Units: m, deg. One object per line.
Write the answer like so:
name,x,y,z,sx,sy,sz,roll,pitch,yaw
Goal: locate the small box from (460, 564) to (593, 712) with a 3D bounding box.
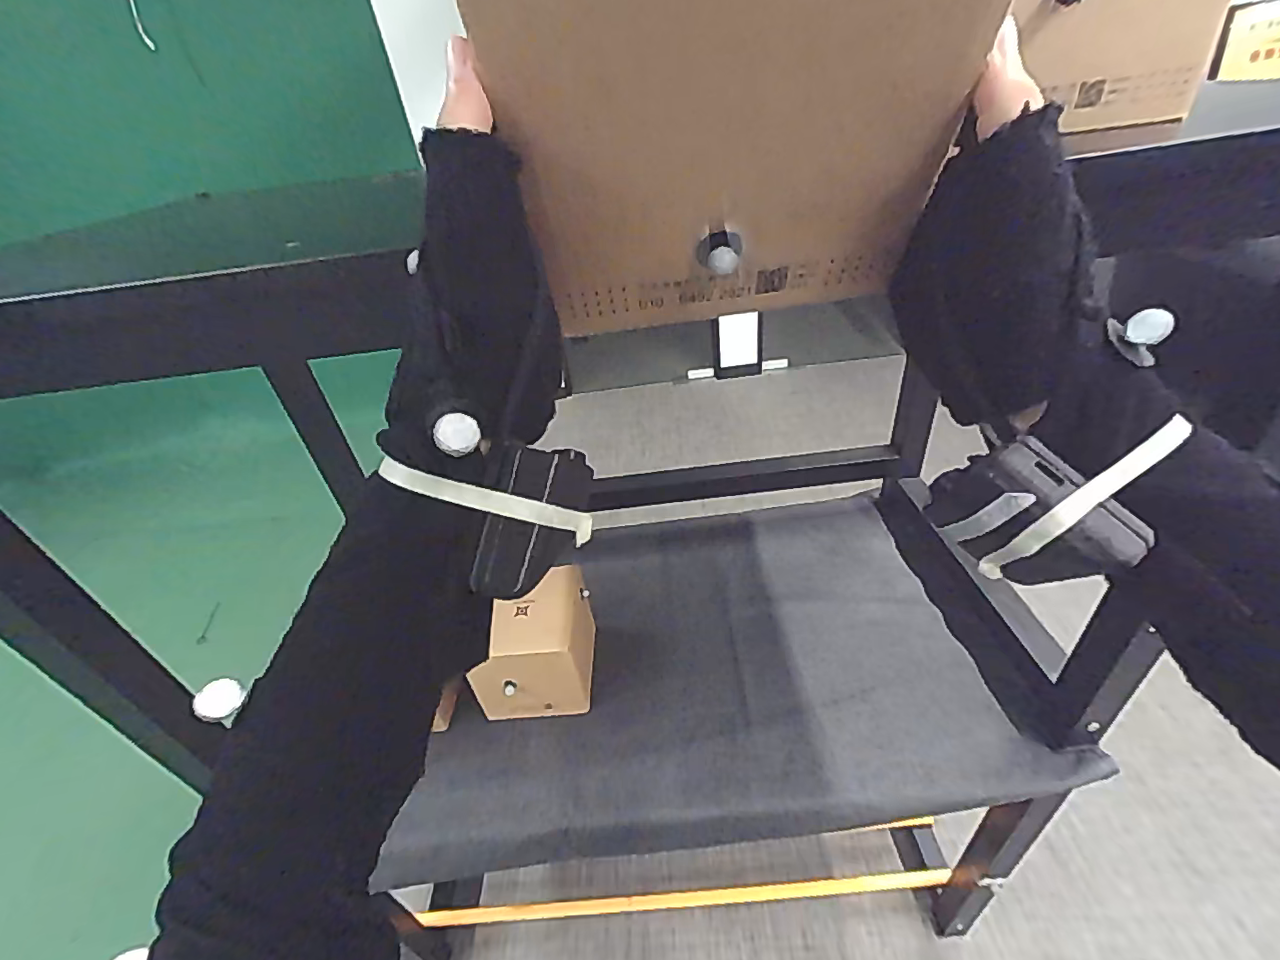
small box,-0.174,0.266,0.897,0.168,0.176,0.179,-6,35,3
